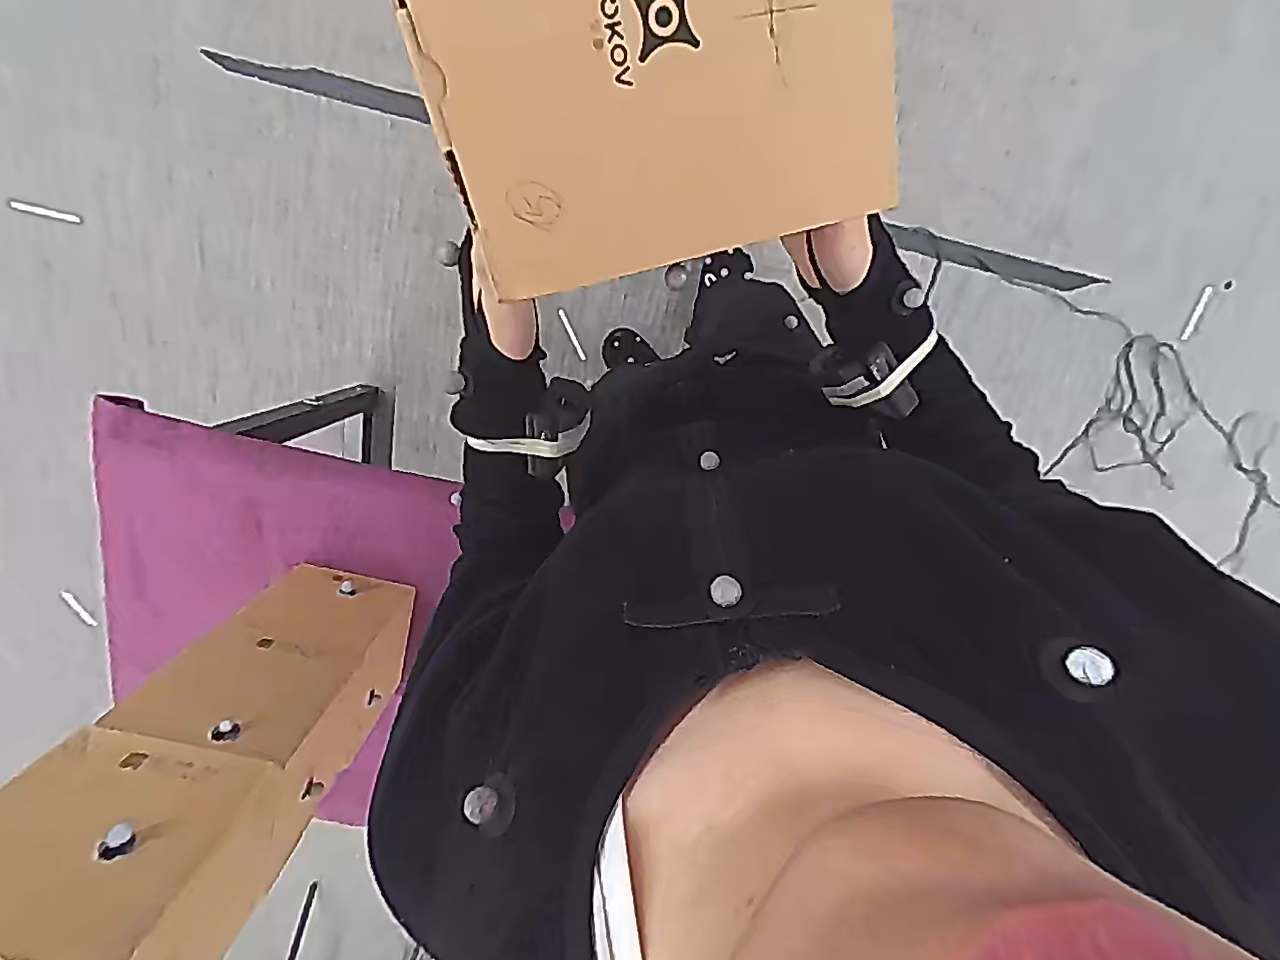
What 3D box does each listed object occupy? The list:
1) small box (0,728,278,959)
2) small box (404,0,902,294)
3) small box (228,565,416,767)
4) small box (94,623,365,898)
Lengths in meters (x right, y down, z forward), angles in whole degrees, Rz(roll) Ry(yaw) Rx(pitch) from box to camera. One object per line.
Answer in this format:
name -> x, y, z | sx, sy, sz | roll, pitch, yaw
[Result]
small box -> -0.413, 0.326, 0.415 | 0.168, 0.176, 0.179 | 16, 107, -7
small box -> 0.002, -0.200, 0.269 | 0.179, 0.176, 0.168 | -14, 115, 2
small box -> -0.422, 0.241, 0.731 | 0.168, 0.176, 0.179 | 14, 106, -6
small box -> -0.418, 0.285, 0.573 | 0.168, 0.176, 0.179 | 16, 107, -7
